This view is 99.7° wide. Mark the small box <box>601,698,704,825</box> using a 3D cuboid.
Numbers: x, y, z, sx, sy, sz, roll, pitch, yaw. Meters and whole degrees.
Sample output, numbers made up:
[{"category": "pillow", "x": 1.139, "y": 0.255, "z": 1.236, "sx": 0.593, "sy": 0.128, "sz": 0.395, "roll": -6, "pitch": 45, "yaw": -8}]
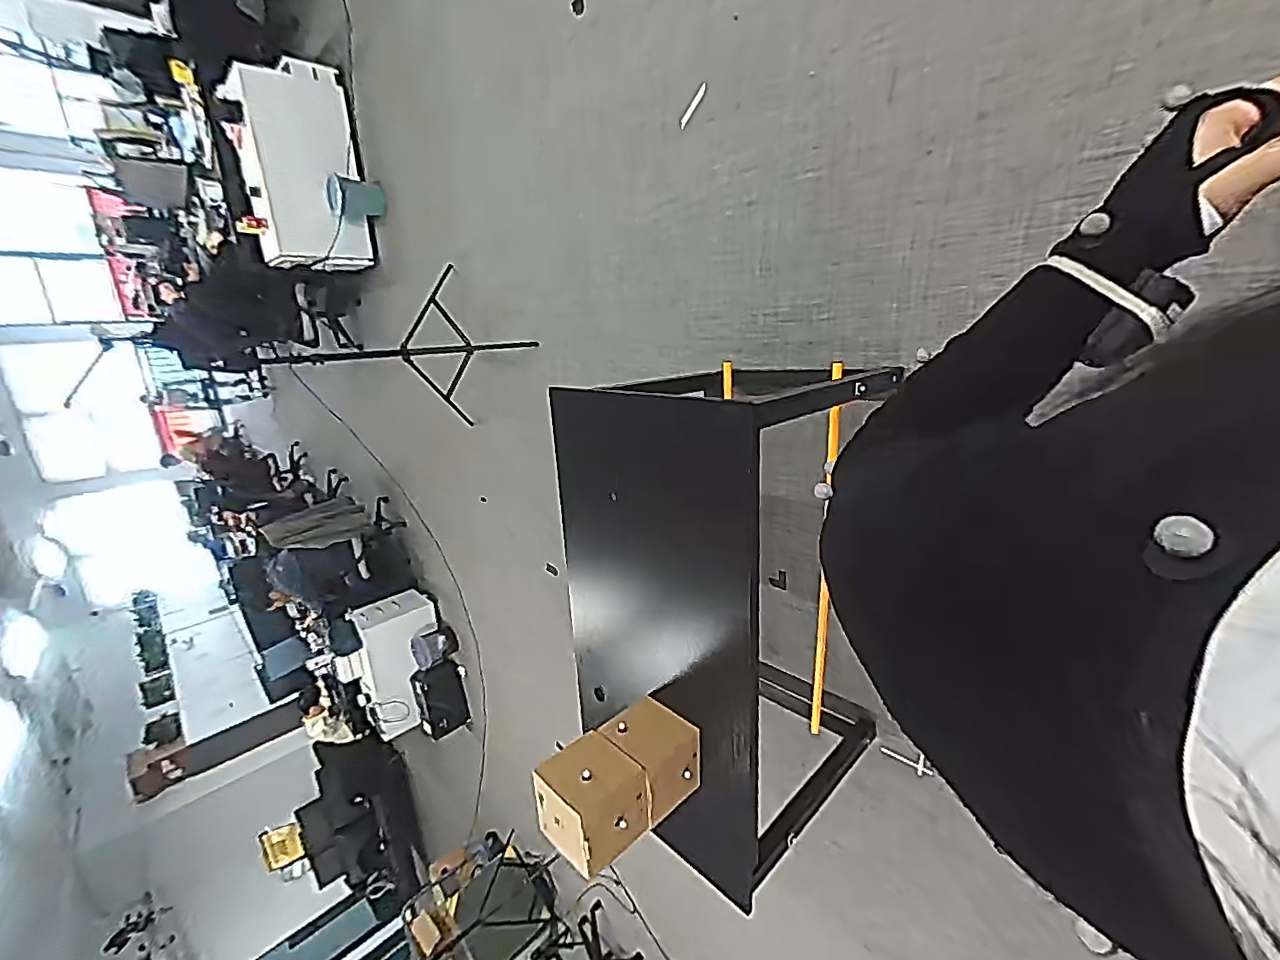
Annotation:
[{"category": "small box", "x": 0.030, "y": 0.644, "z": 1.267, "sx": 0.179, "sy": 0.176, "sz": 0.168, "roll": 15, "pitch": 115, "yaw": 44}]

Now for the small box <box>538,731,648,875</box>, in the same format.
[{"category": "small box", "x": -0.095, "y": 0.682, "z": 1.169, "sx": 0.179, "sy": 0.176, "sz": 0.168, "roll": 12, "pitch": 112, "yaw": 45}]
